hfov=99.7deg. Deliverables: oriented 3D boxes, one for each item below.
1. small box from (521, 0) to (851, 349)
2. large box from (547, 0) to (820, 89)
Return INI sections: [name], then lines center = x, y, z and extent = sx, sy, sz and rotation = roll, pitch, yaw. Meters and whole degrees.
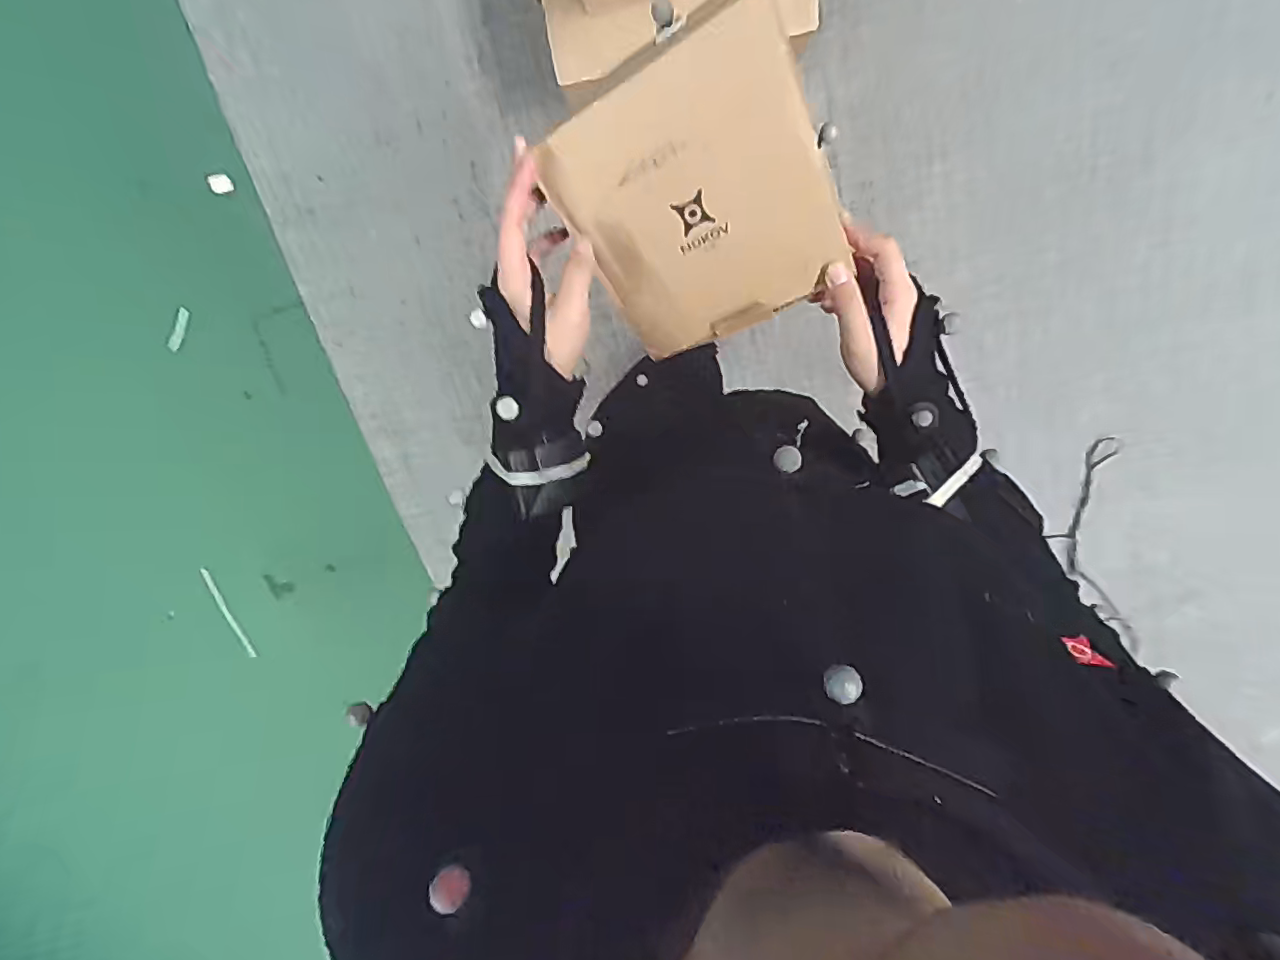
[small box]
center = 0.046, -0.238, 0.408
extent = 0.168, 0.176, 0.179
rotation = -17, 130, 26
[large box]
center = 0.053, -0.831, 0.914
extent = 0.408, 0.320, 0.320
rotation = -8, 110, 5
